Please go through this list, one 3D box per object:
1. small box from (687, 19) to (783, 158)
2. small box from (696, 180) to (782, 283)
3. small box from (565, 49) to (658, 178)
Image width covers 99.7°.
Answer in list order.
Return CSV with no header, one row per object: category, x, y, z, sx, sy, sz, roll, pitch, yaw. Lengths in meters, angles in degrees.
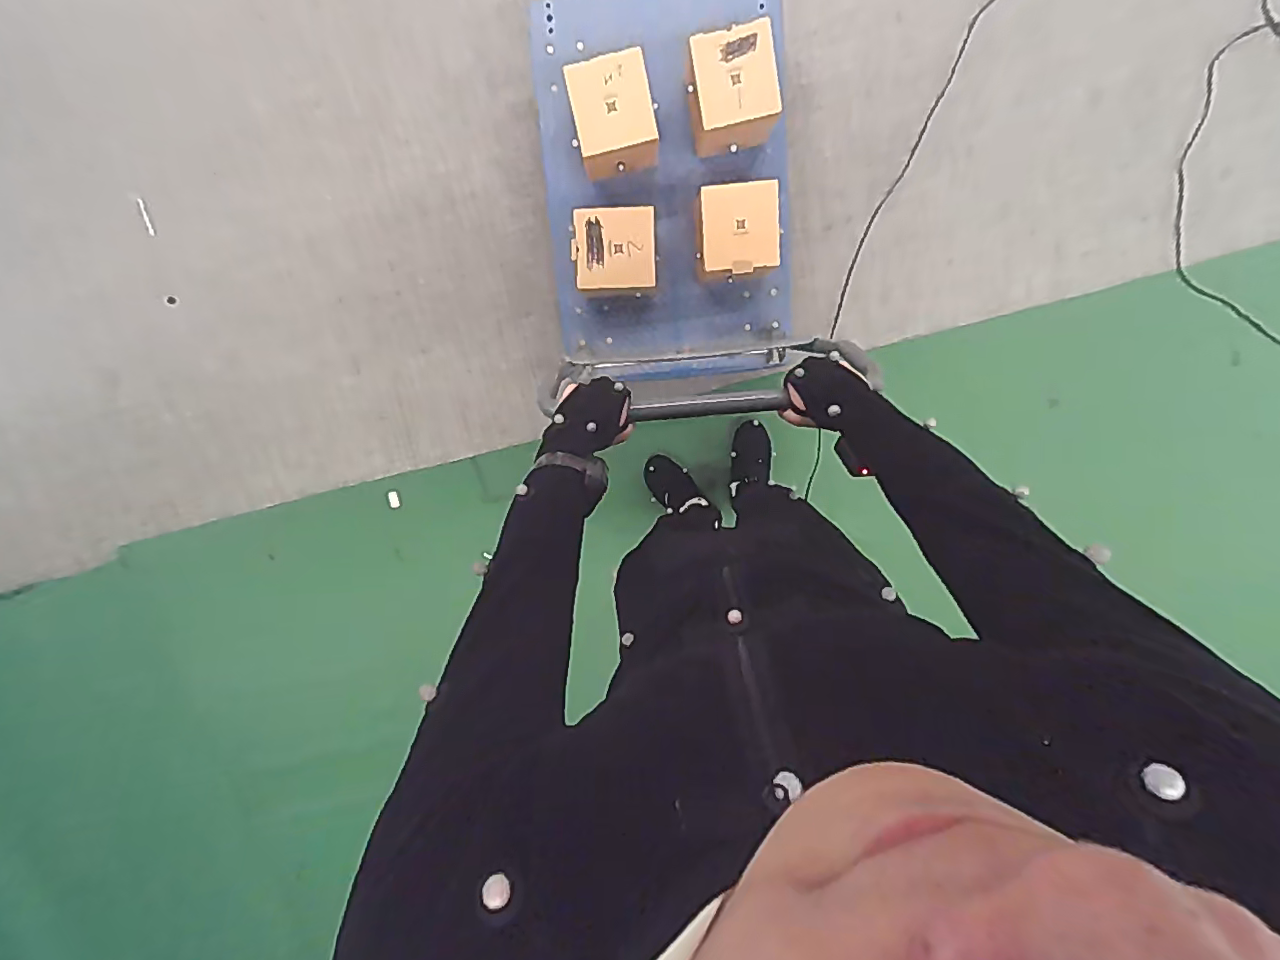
small box,0.199,-0.840,1.177,0.168,0.176,0.179,-11,103,4
small box,0.222,-0.561,1.238,0.168,0.176,0.179,-5,103,2
small box,-0.056,-0.792,1.192,0.168,0.176,0.179,-12,102,3
